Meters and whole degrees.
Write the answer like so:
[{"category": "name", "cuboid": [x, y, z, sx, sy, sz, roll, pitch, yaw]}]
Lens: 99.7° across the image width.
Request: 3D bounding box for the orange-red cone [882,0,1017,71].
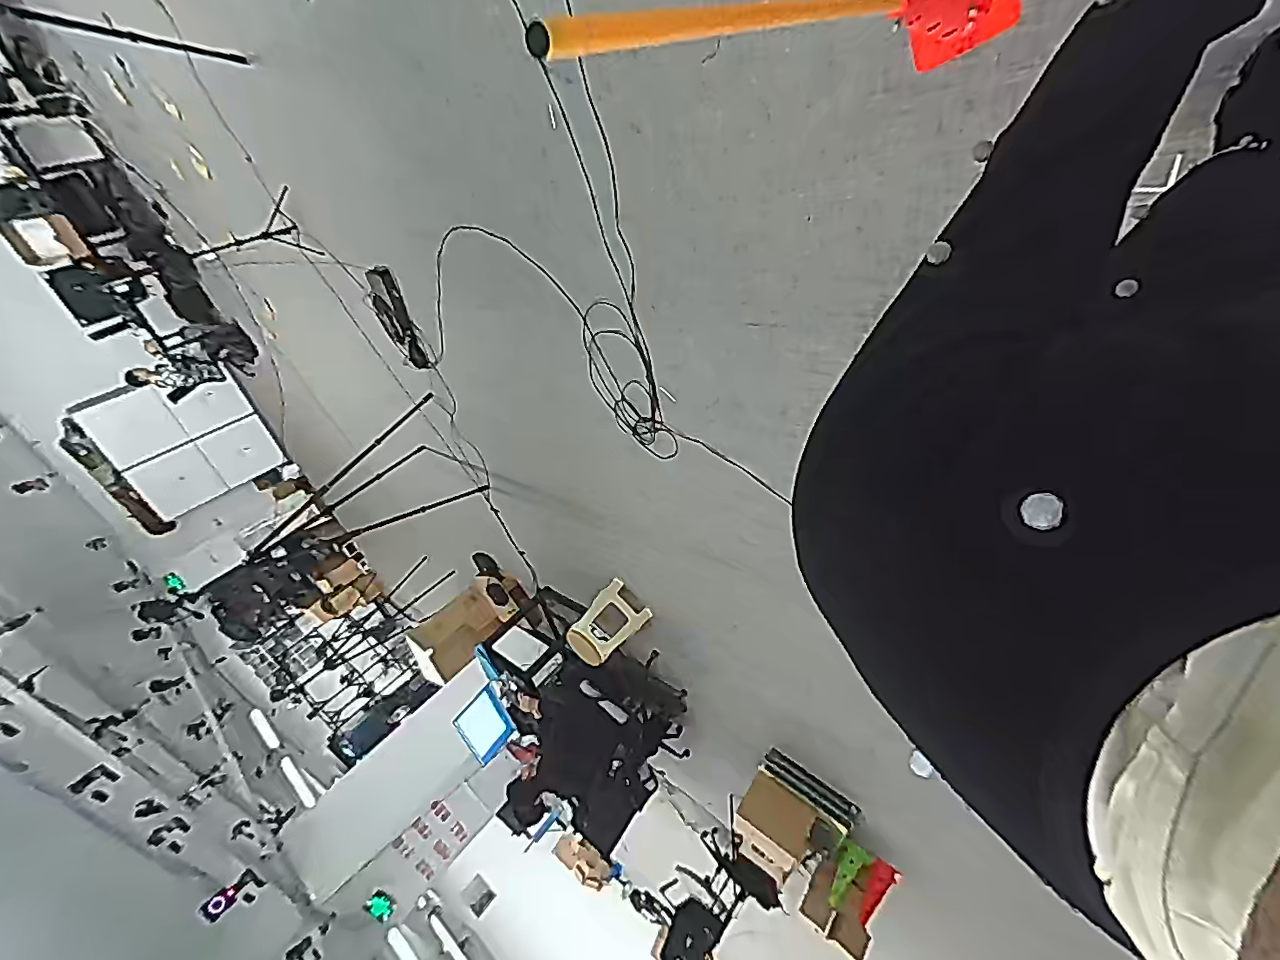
[{"category": "orange-red cone", "cuboid": [0.541, -0.896, 1.014, 0.199, 0.360, 0.198, 3, 124, 49]}]
